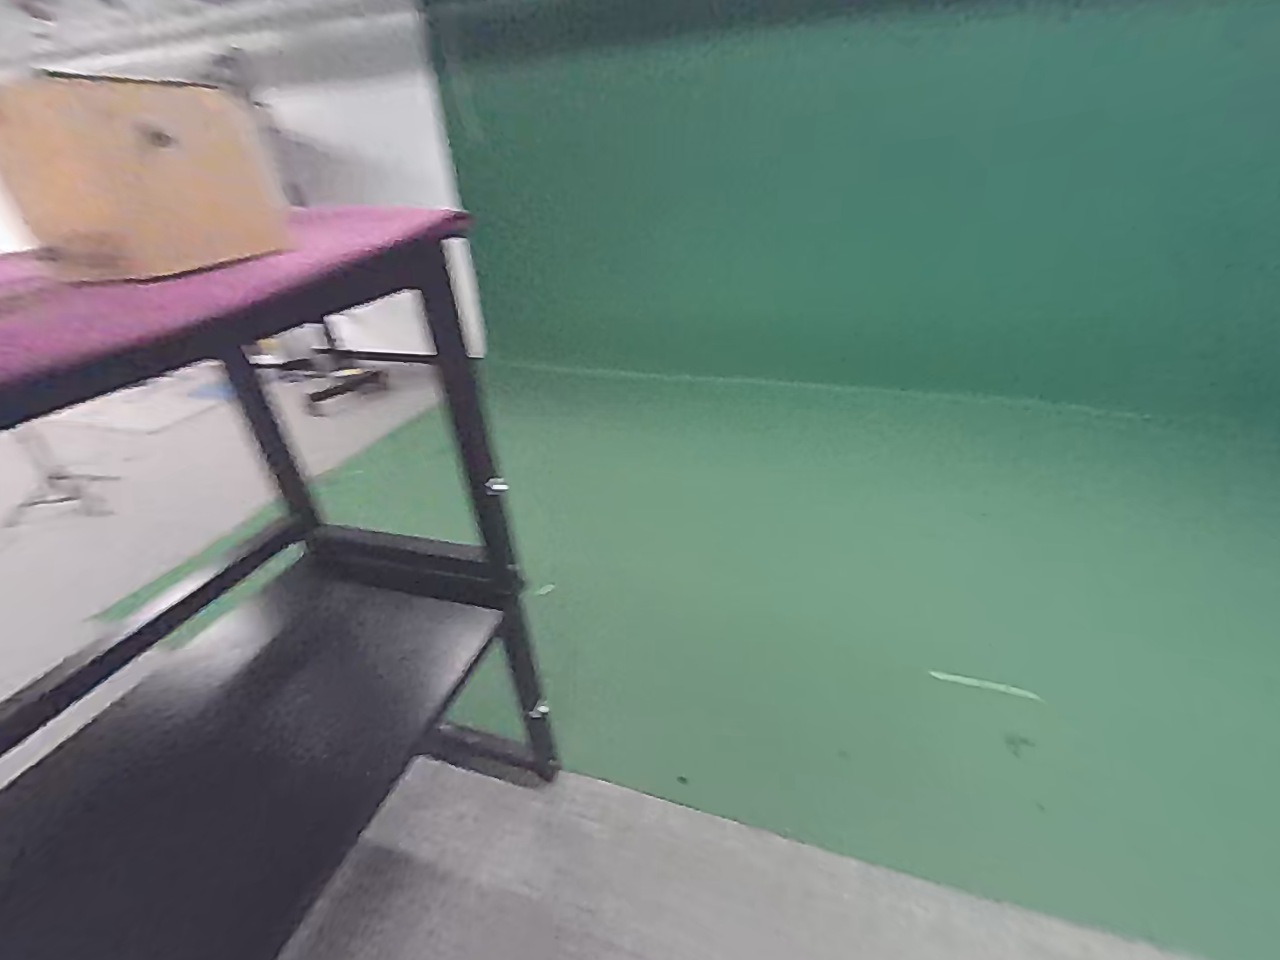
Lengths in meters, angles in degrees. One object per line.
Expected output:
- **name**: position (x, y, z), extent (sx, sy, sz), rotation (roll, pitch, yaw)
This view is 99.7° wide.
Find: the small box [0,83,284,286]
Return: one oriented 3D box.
- **small box**: position (-0.546, -0.314, 0.593), extent (0.168, 0.176, 0.179), rotation (5, 32, 18)
